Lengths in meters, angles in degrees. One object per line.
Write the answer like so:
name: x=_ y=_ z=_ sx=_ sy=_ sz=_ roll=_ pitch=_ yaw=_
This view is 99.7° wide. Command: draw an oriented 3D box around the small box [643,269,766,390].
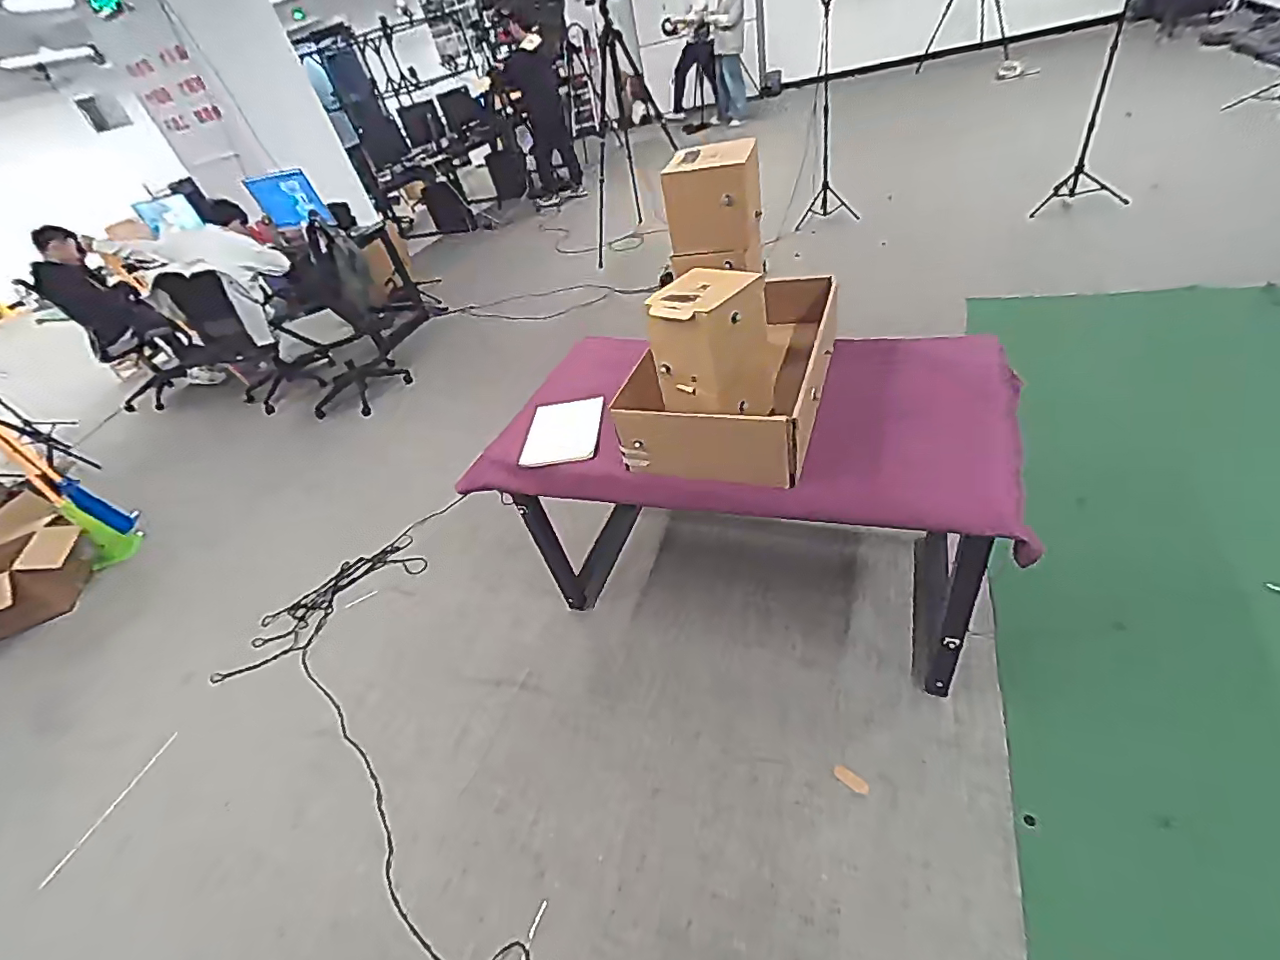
small box: x=0.137 y=-0.301 z=1.080 sx=0.168 sy=0.176 sz=0.179 roll=24 pitch=53 yaw=39

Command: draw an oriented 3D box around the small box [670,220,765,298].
small box: x=0.191 y=-0.492 z=1.283 sx=0.179 sy=0.176 sz=0.168 roll=5 pitch=47 yaw=23
